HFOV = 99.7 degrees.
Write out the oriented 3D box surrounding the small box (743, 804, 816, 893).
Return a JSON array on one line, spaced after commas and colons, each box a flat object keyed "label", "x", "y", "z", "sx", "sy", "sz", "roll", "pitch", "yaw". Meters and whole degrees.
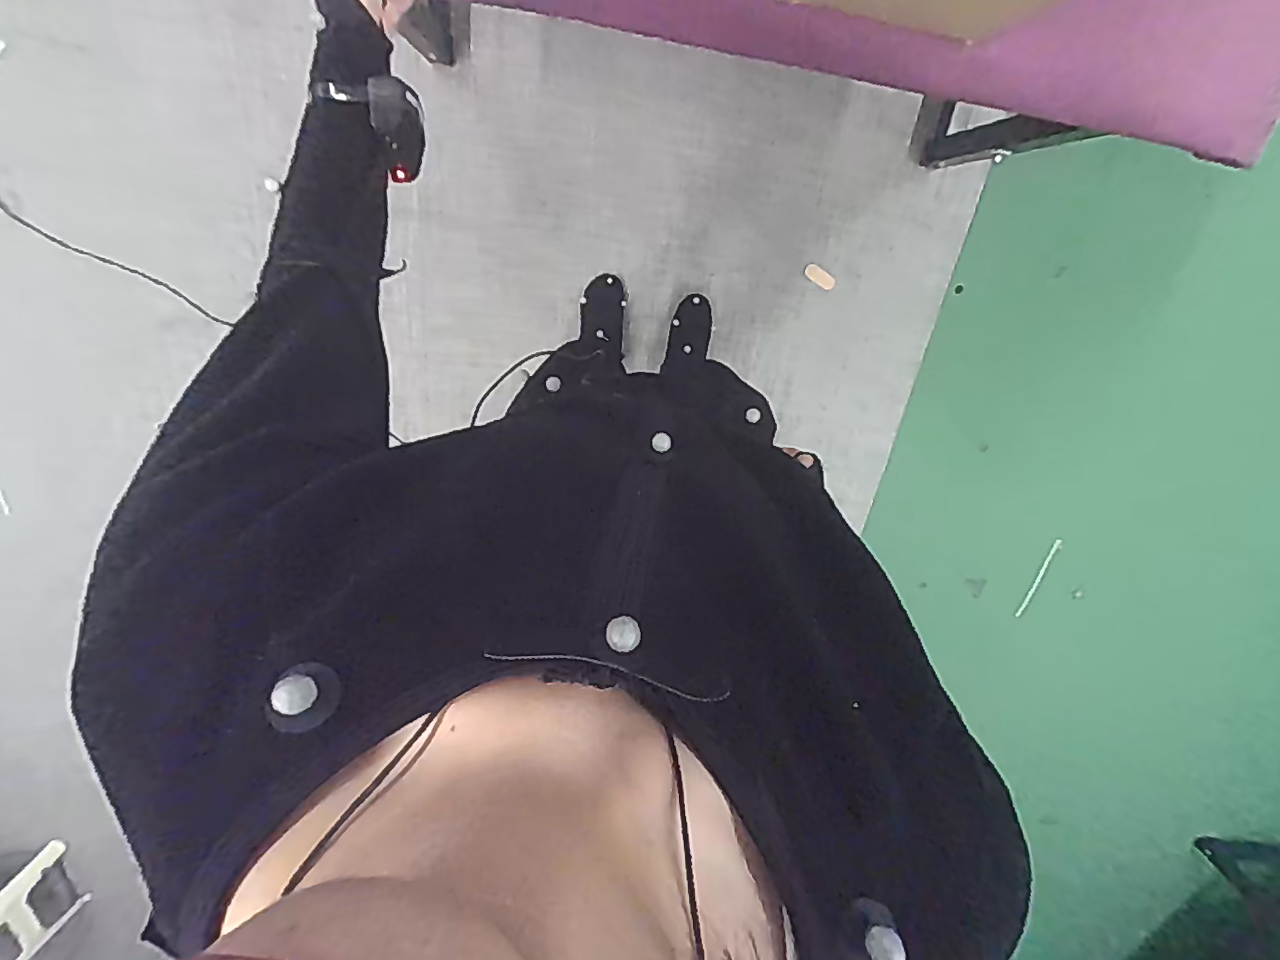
[{"label": "small box", "x": 0.427, "y": 1.136, "z": 1.677, "sx": 0.179, "sy": 0.176, "sz": 0.168, "roll": -4, "pitch": 112, "yaw": -1}]
